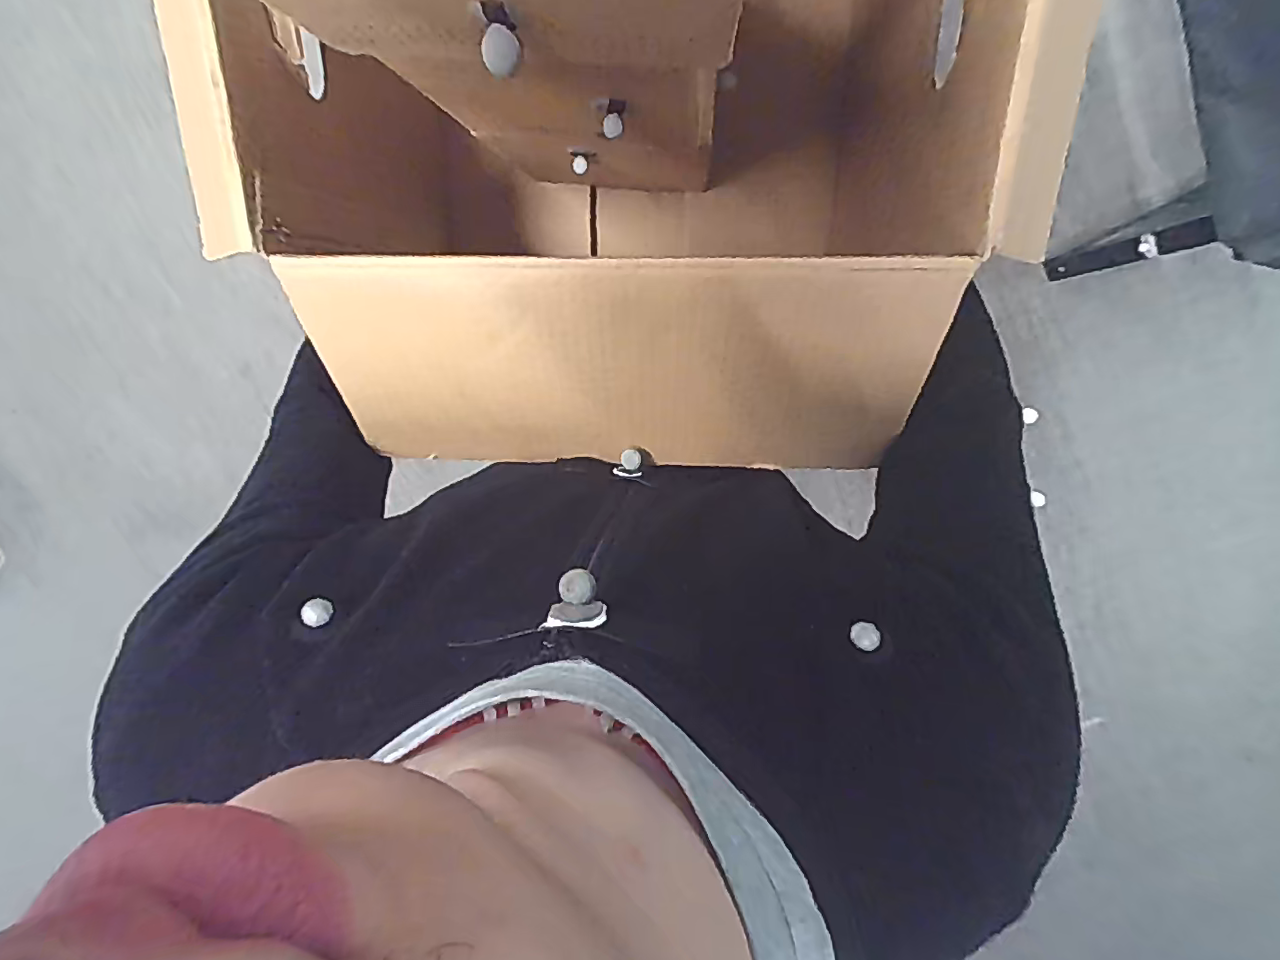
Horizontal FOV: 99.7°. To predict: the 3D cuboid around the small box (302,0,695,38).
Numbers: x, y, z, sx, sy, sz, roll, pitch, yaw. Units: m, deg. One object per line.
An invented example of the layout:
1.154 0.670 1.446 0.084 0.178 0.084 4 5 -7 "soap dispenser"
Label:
-0.053 -0.235 0.122 0.179 0.176 0.168 5 109 2 "small box"
